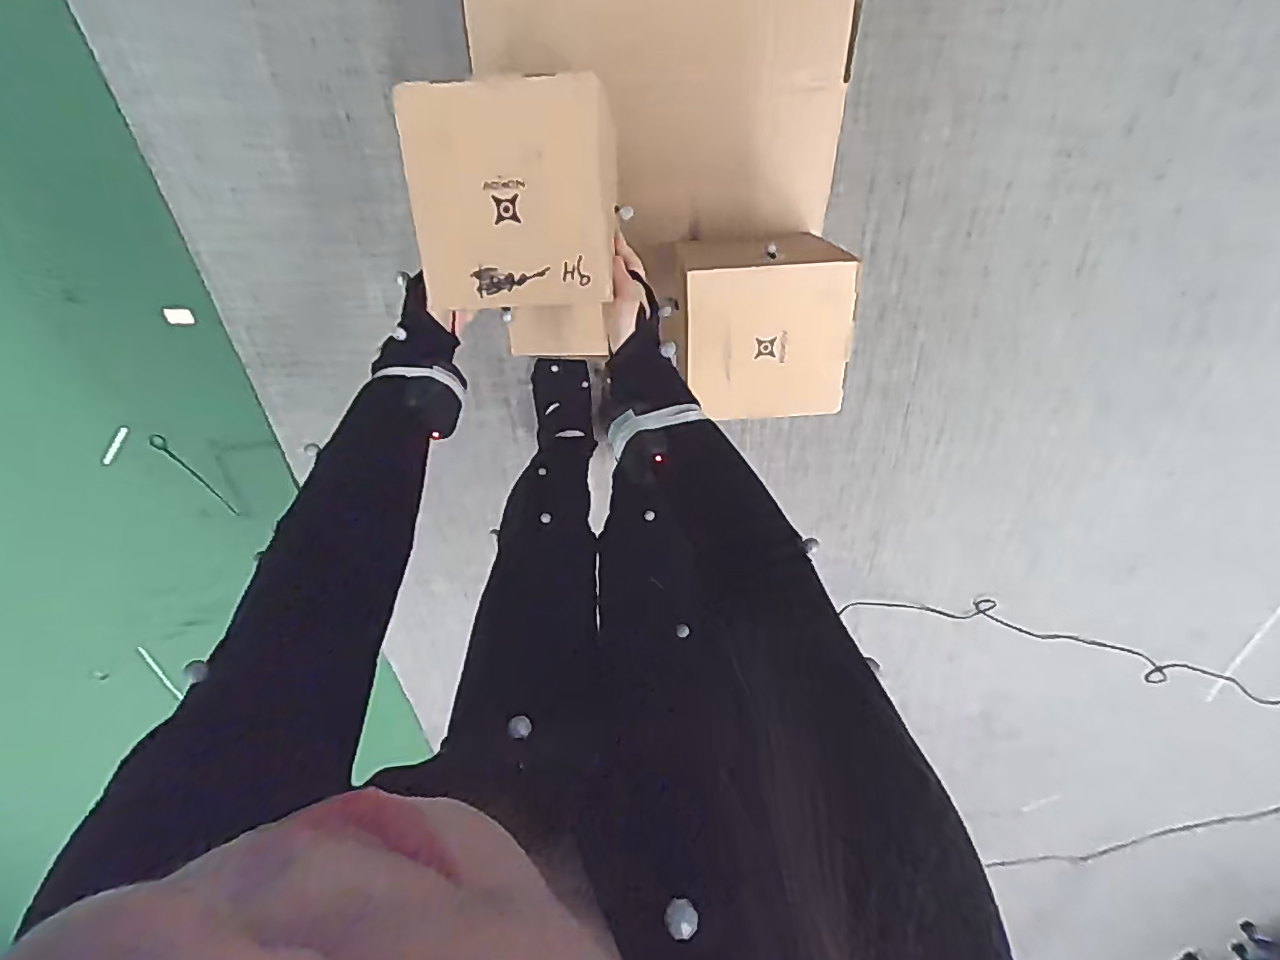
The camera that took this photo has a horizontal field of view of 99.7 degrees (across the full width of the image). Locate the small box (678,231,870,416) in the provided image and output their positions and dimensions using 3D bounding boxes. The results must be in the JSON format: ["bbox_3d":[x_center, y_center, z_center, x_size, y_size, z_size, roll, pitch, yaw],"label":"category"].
[{"bbox_3d":[0.139,-0.188,0.633,0.179,0.176,0.168,-3,123,1],"label":"small box"}]

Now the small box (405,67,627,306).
[{"bbox_3d":[-0.102,-0.265,0.530,0.168,0.176,0.179,-2,109,3],"label":"small box"}]
